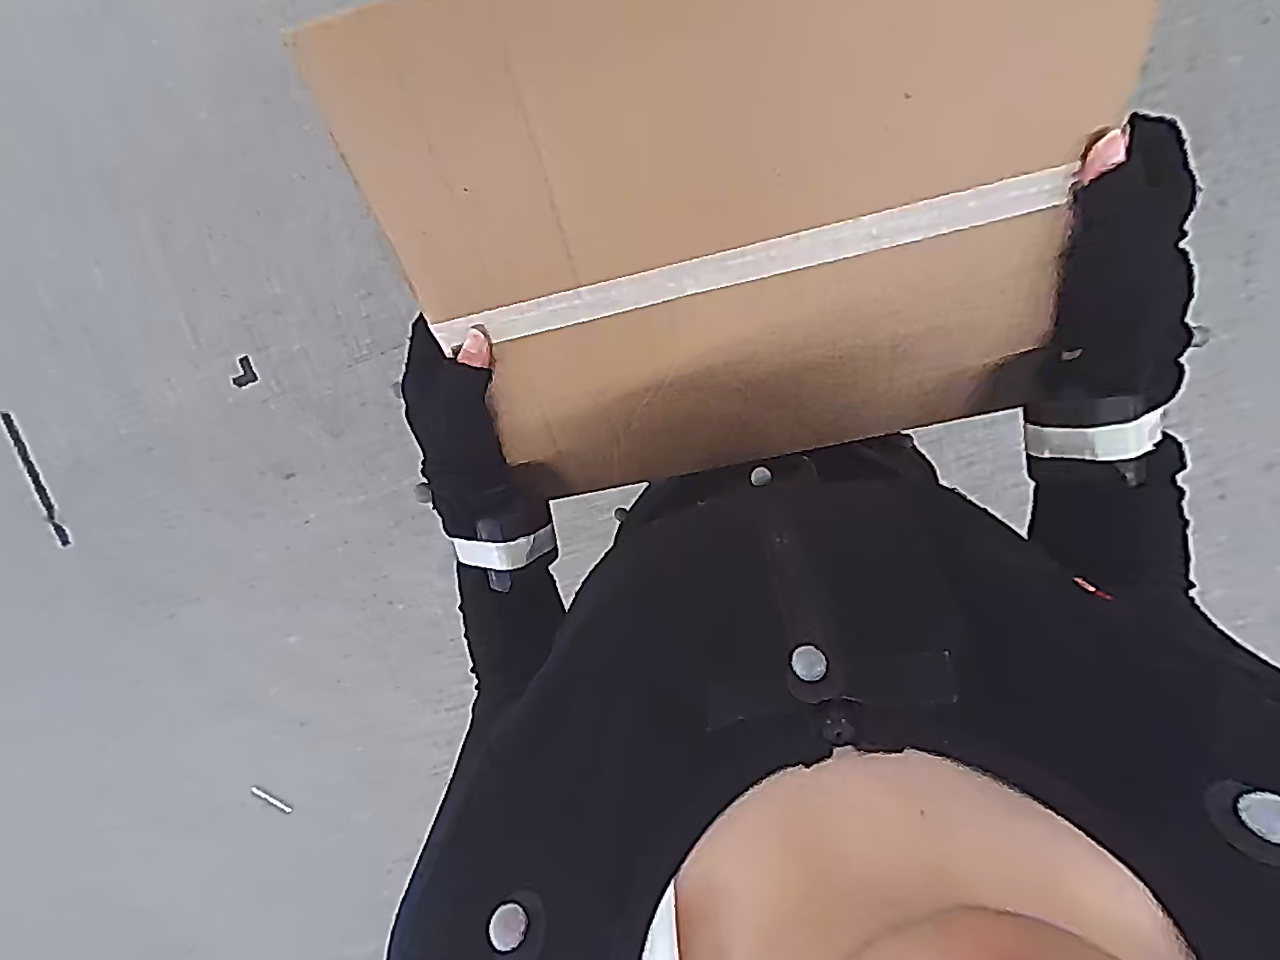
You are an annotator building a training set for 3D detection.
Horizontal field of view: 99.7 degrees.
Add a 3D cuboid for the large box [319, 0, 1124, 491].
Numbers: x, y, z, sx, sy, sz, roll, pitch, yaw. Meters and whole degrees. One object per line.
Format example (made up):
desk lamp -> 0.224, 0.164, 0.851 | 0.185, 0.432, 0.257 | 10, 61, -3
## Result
large box -> 0.058, -0.238, 0.453 | 0.408, 0.320, 0.320 | -11, 130, 7
